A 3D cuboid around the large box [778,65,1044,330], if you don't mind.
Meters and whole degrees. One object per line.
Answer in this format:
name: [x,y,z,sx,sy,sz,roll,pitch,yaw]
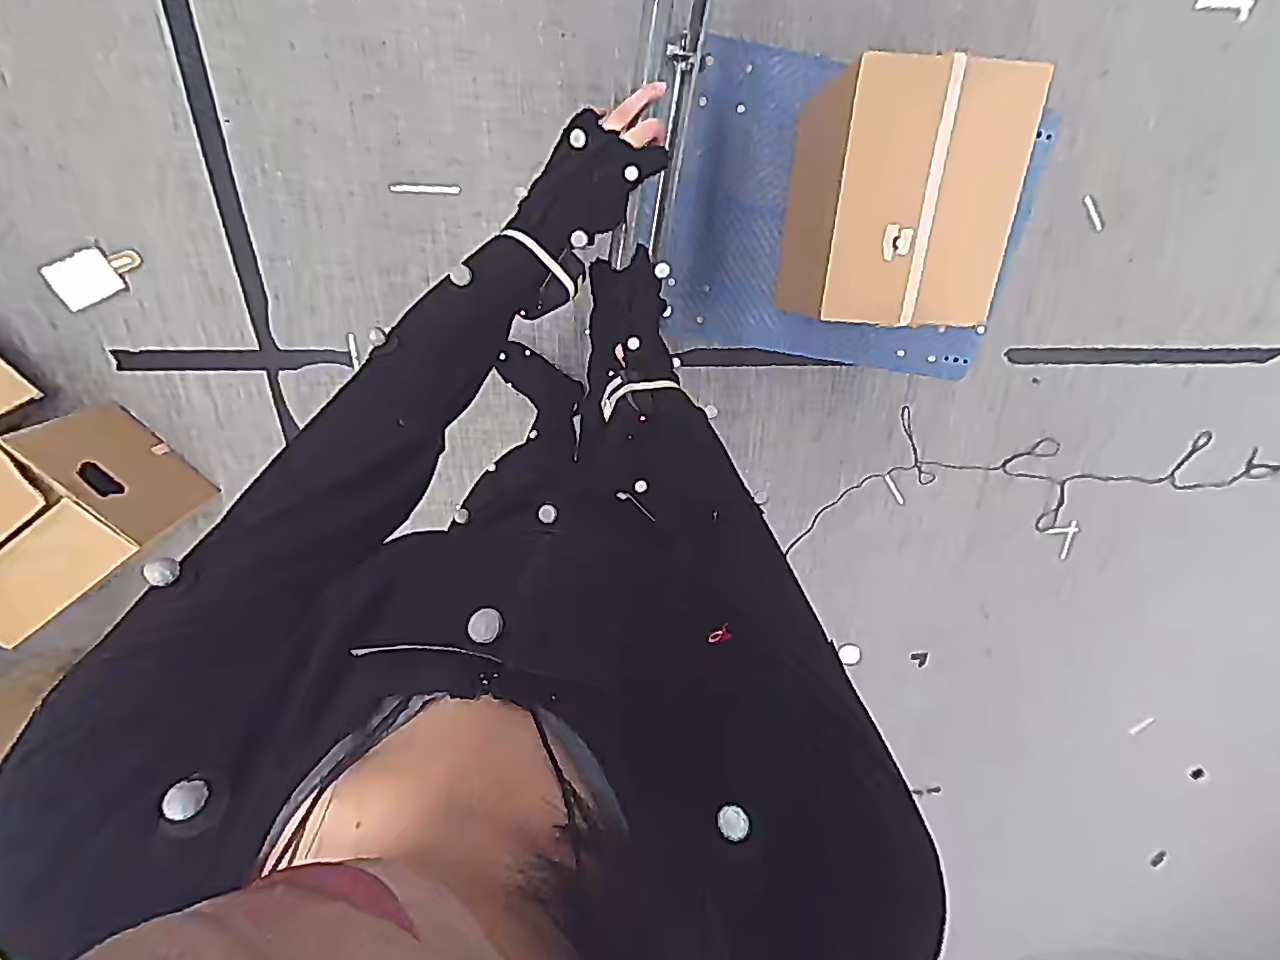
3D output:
large box: [0.481,-0.520,1.059,0.320,0.320,0.408,2,111,-2]
